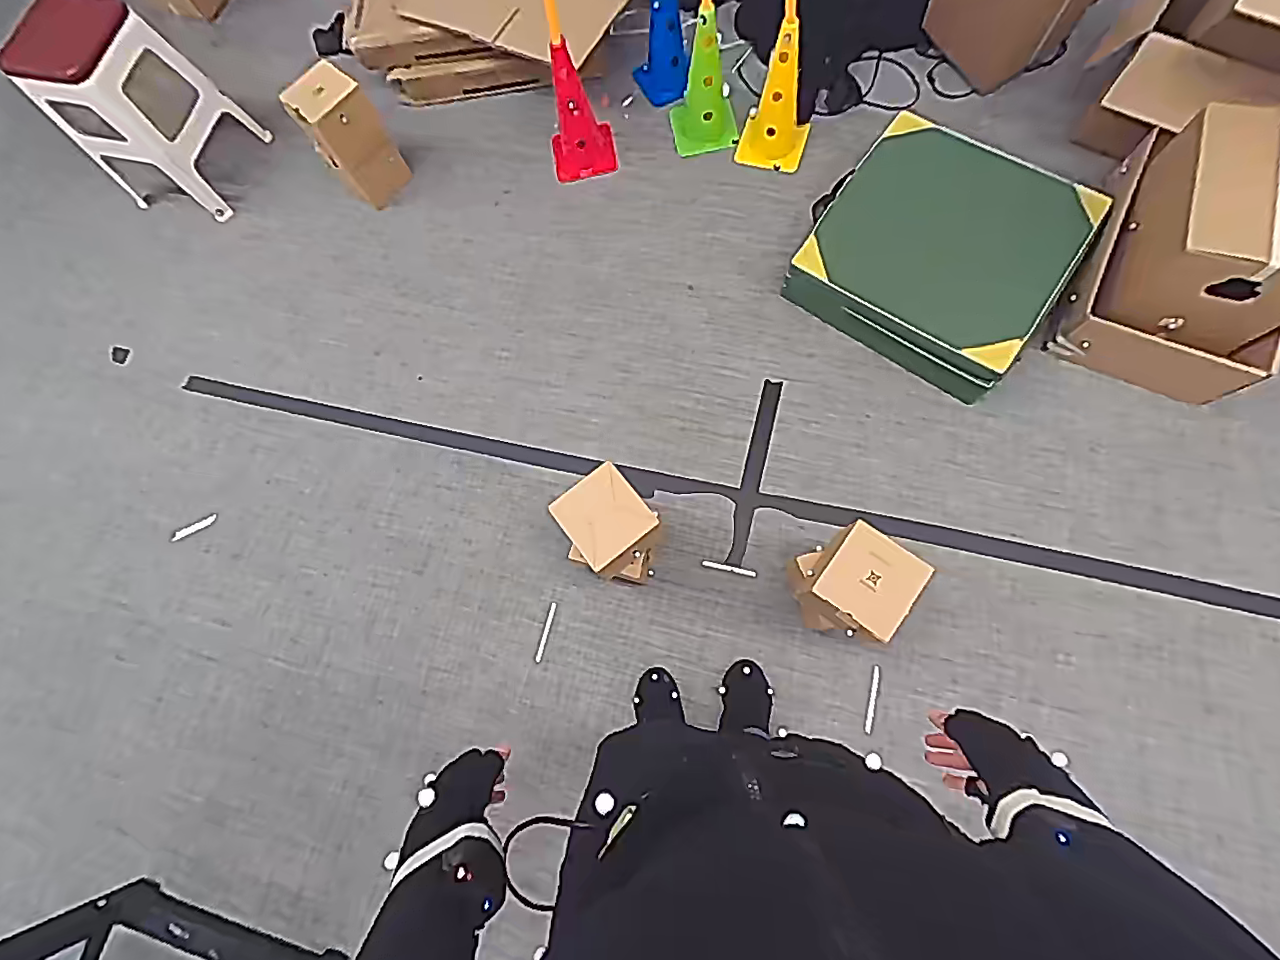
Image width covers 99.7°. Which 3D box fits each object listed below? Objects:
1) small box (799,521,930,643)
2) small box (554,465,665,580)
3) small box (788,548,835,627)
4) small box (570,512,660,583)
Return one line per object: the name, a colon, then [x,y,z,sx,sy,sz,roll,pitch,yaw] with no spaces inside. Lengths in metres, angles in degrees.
small box: [0.447,0.213,1.112,0.168,0.176,0.179,36,80,12]
small box: [-0.066,0.097,1.190,0.168,0.176,0.179,-39,74,-6]
small box: [0.460,0.244,1.272,0.179,0.176,0.168,-17,75,1]
small box: [-0.053,0.153,1.348,0.179,0.176,0.168,14,76,10]
